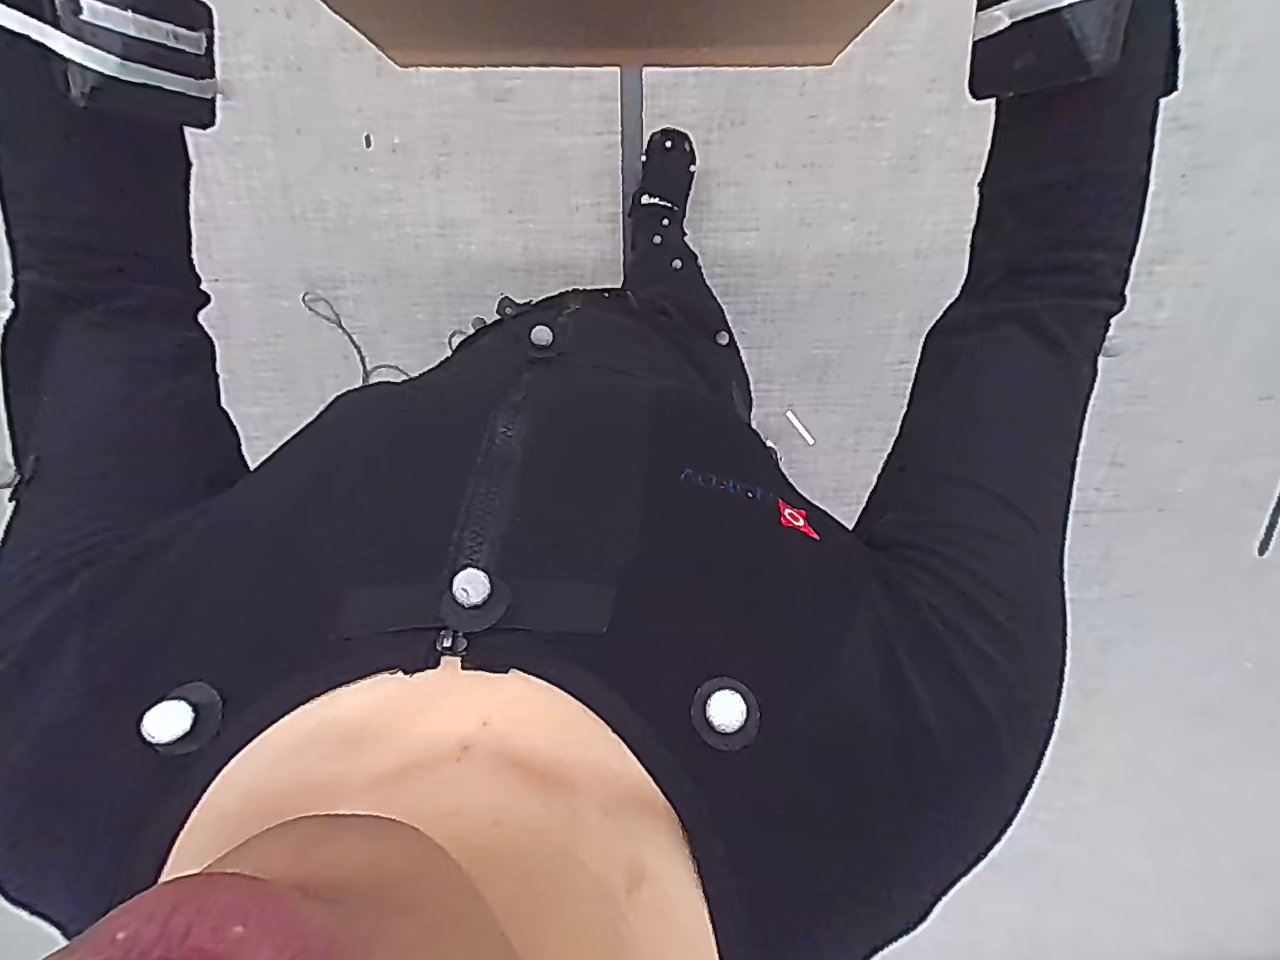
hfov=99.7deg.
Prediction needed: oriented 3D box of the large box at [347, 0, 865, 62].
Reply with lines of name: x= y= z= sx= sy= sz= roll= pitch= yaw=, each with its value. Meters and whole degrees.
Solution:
large box: x=-0.023 y=-0.482 z=0.308 sx=0.408 sy=0.320 sz=0.320 roll=-1 pitch=112 yaw=-1
